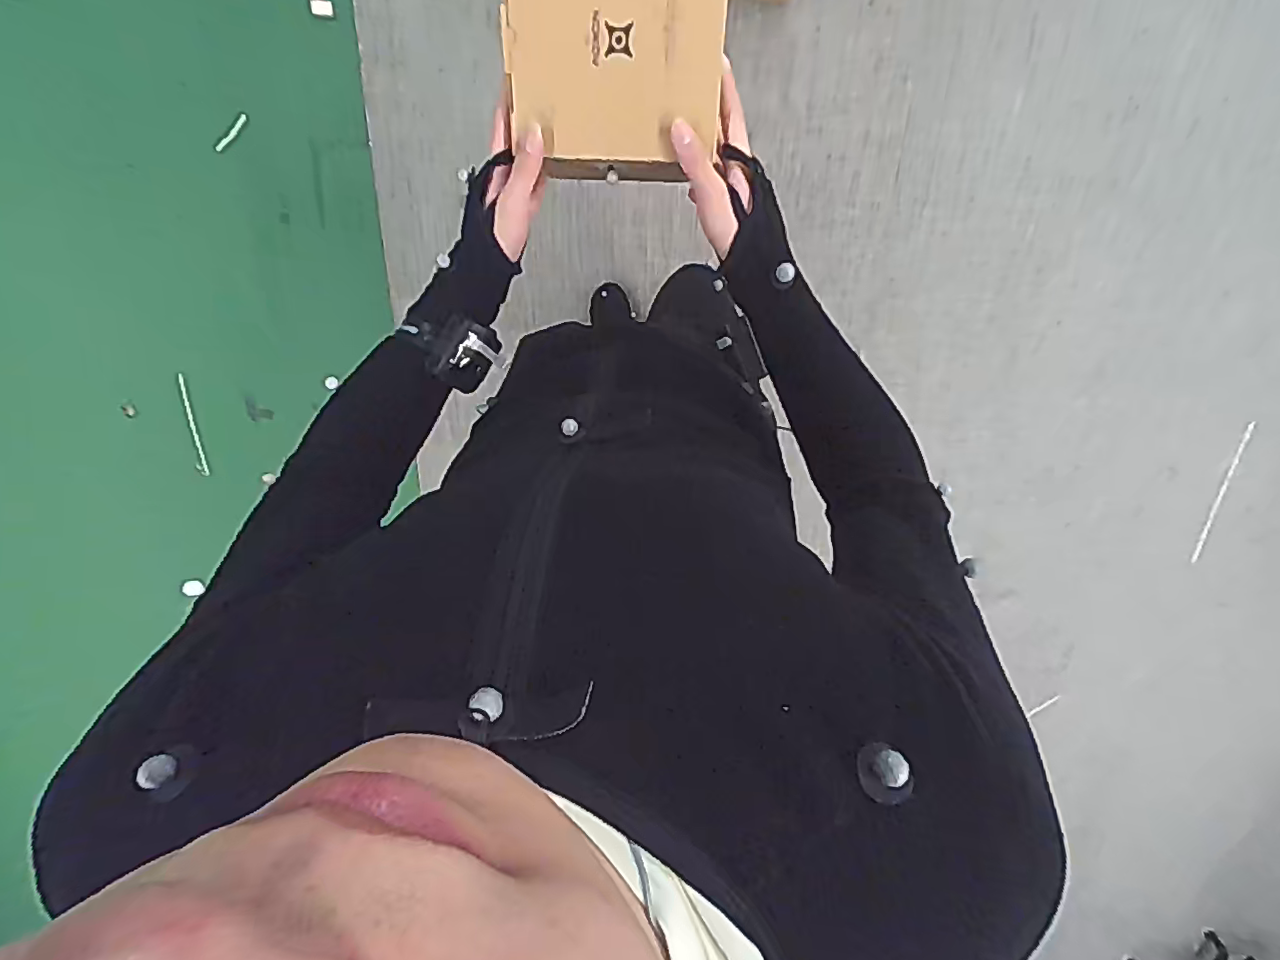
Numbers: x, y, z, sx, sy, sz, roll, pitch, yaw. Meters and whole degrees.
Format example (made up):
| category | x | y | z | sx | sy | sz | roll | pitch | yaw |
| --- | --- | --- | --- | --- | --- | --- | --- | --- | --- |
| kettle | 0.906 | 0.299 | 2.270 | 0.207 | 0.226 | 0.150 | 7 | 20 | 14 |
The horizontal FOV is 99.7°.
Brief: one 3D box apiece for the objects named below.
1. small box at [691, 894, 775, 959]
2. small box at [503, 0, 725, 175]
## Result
| category | x | y | z | sx | sy | sz | roll | pitch | yaw |
| --- | --- | --- | --- | --- | --- | --- | --- | --- | --- |
| small box | 0.210 | 1.095 | 1.248 | 0.179 | 0.176 | 0.168 | -3 | 112 | 2 |
| small box | -0.018 | -0.385 | 0.497 | 0.179 | 0.176 | 0.168 | 3 | 114 | 2 |
